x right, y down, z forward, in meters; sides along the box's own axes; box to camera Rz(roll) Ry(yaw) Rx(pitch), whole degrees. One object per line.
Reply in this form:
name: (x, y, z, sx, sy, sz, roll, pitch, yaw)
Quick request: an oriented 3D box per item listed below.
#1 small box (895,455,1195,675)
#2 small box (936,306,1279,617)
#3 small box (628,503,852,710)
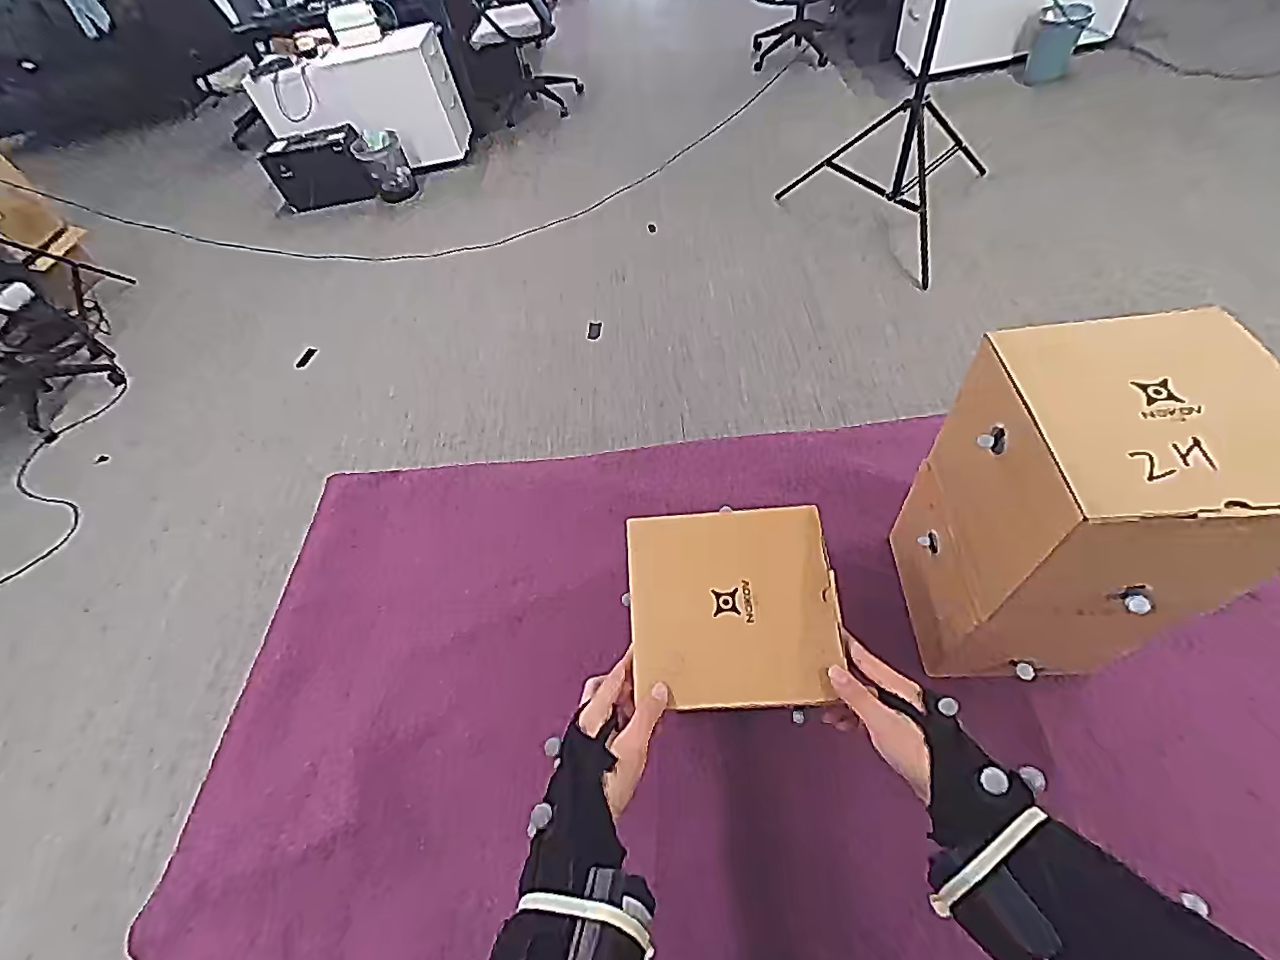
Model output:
small box: (0.381, 0.088, 0.558, 0.168, 0.176, 0.179, -4, 54, 8)
small box: (0.359, -0.008, 0.425, 0.168, 0.176, 0.179, -4, 54, 8)
small box: (0.086, 0.133, 0.534, 0.179, 0.176, 0.168, -4, 66, 3)
